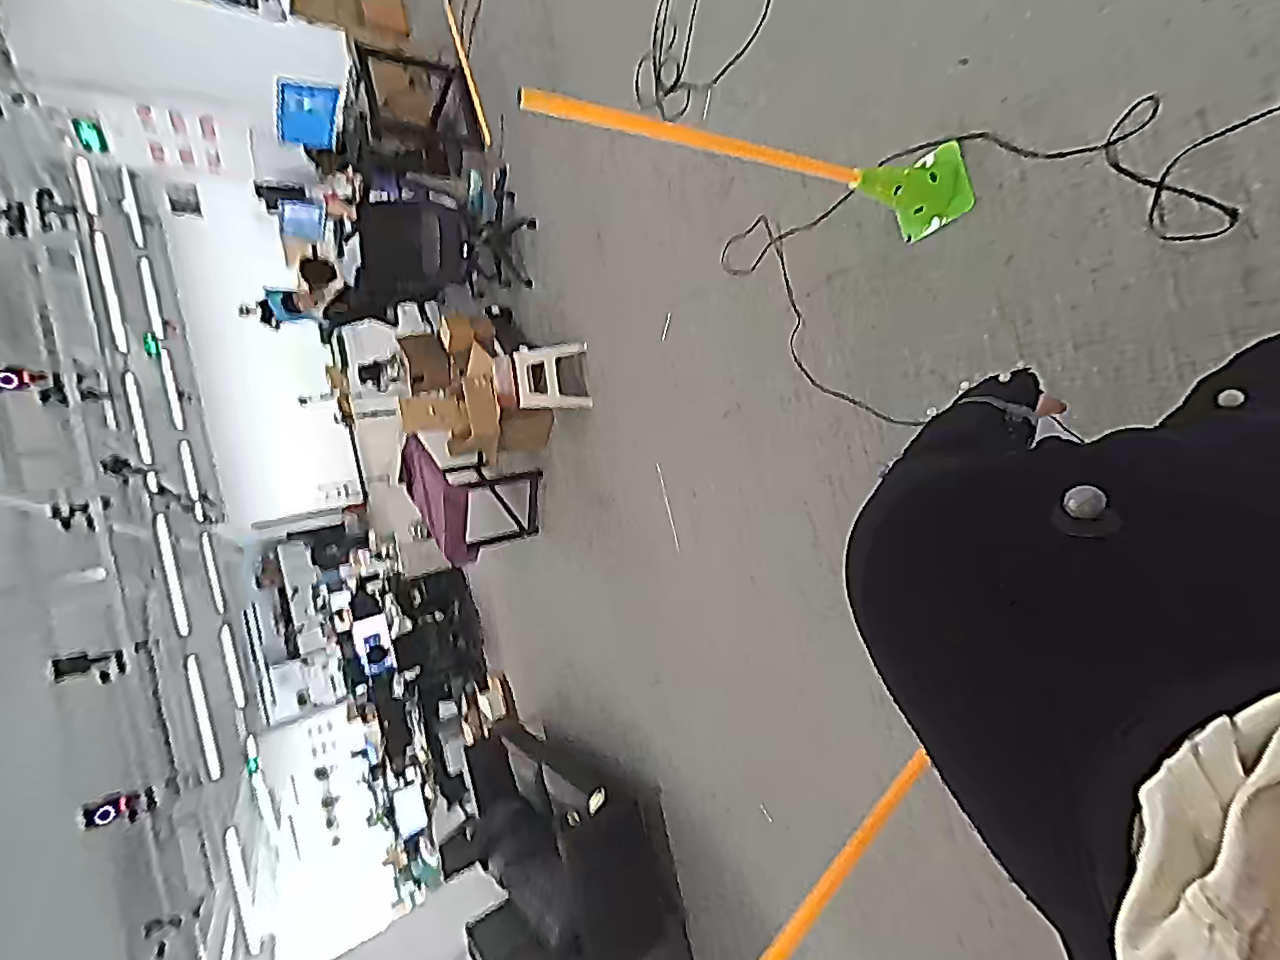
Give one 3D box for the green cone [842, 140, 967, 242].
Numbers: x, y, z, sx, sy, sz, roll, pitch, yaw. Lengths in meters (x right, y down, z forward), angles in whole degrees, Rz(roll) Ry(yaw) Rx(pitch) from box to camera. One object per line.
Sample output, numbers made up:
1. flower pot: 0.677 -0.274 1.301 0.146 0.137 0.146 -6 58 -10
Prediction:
1. green cone: 0.667 -0.785 1.435 0.200 0.368 0.202 -19 83 56
